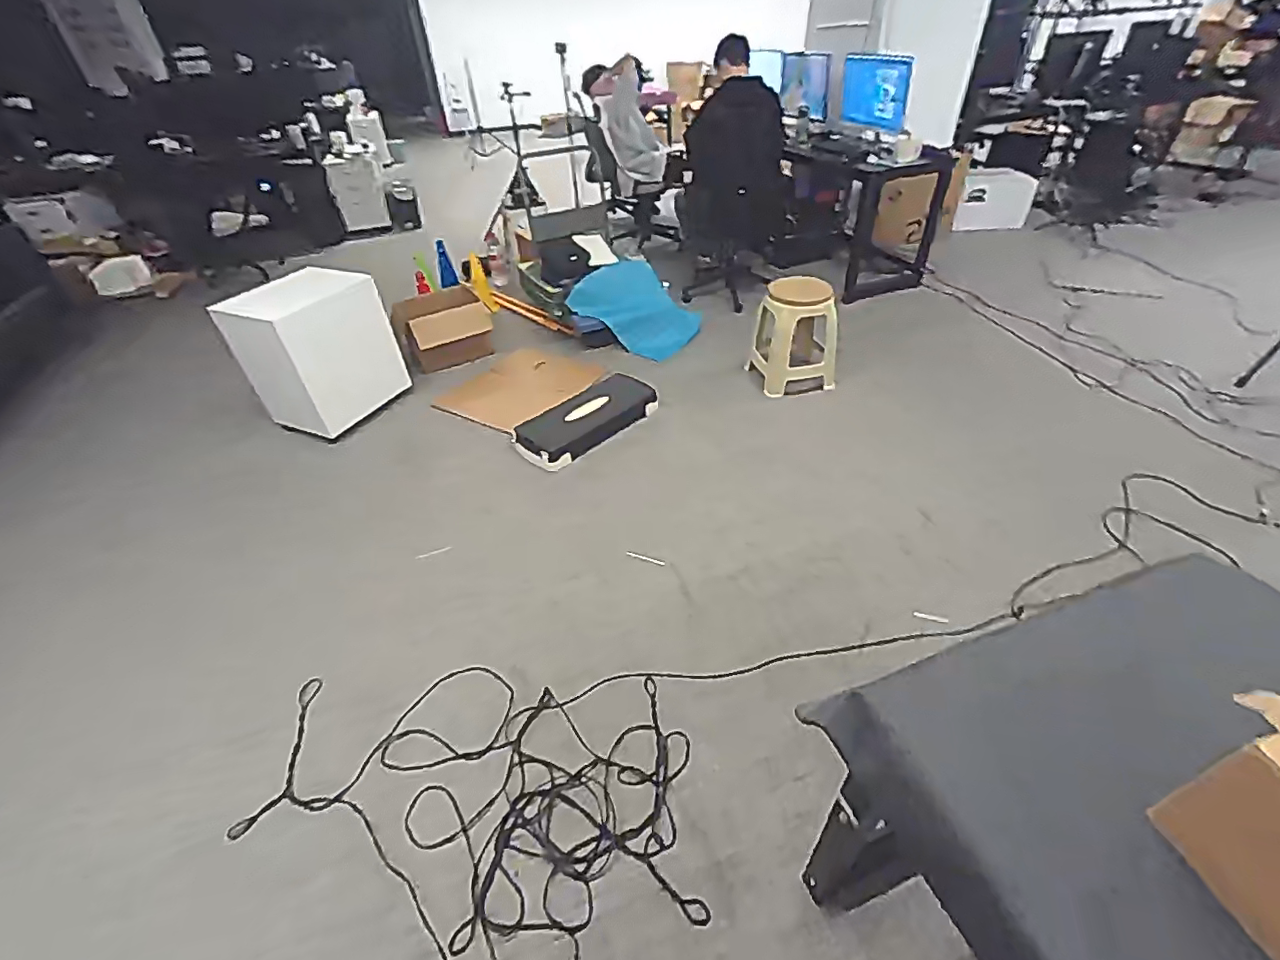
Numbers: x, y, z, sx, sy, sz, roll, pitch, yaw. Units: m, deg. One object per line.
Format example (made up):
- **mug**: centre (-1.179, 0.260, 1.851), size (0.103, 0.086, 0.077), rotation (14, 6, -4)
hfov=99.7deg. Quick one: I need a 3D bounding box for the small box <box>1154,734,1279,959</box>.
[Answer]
- **small box**: centre (0.623, 0.328, 0.462), size (0.168, 0.176, 0.179), rotation (-10, 39, -9)
